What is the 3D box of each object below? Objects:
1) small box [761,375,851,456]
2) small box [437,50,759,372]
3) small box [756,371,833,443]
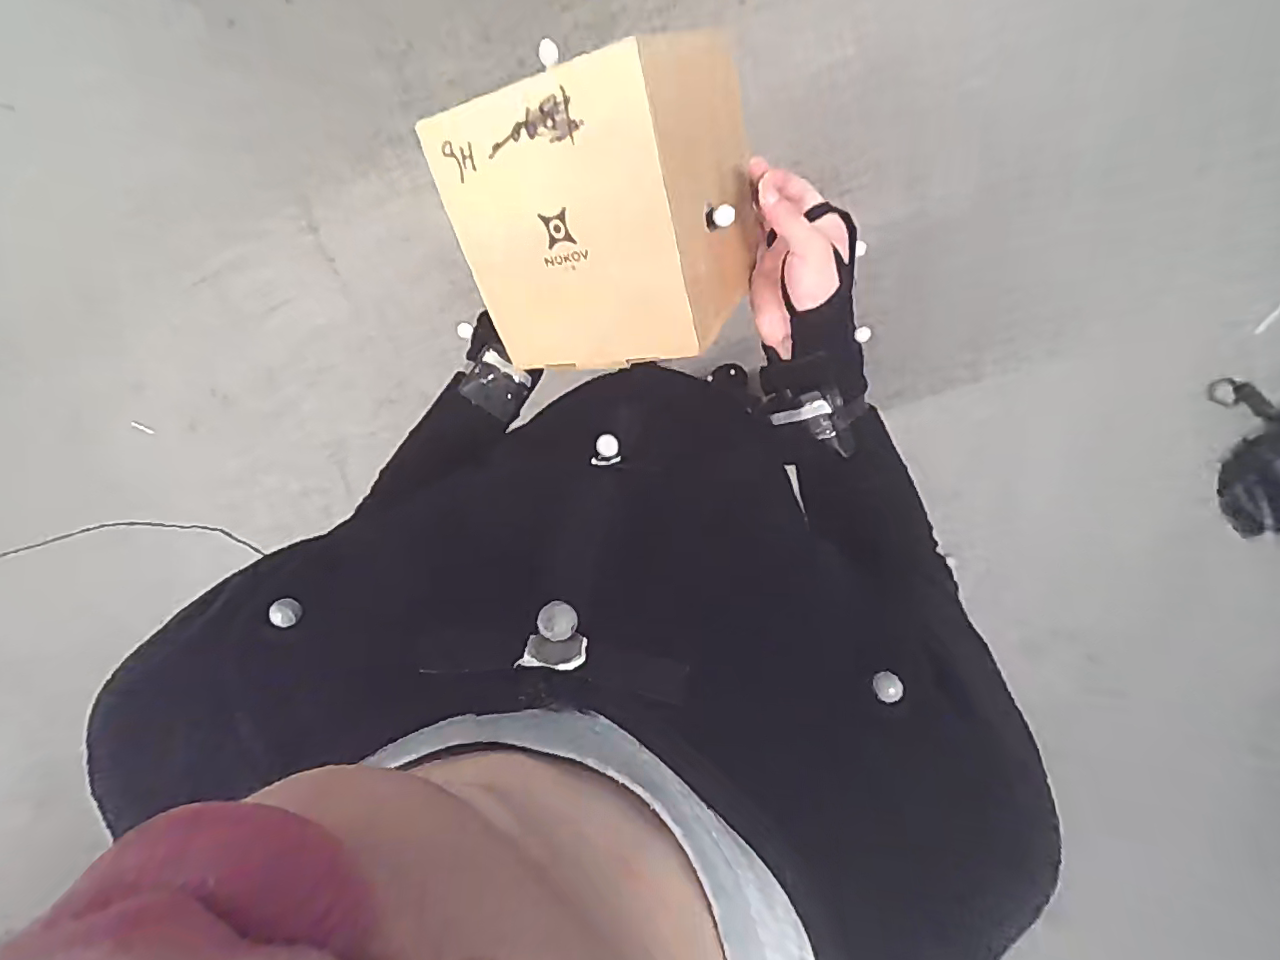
[{"bbox_3d":[0.379,-0.154,1.254,0.179,0.176,0.168,-3,102,9],"label":"small box"},{"bbox_3d":[-0.012,-0.204,0.424,0.168,0.176,0.179,2,128,27],"label":"small box"},{"bbox_3d":[0.401,-0.193,1.413,0.179,0.176,0.168,-4,102,10],"label":"small box"}]
